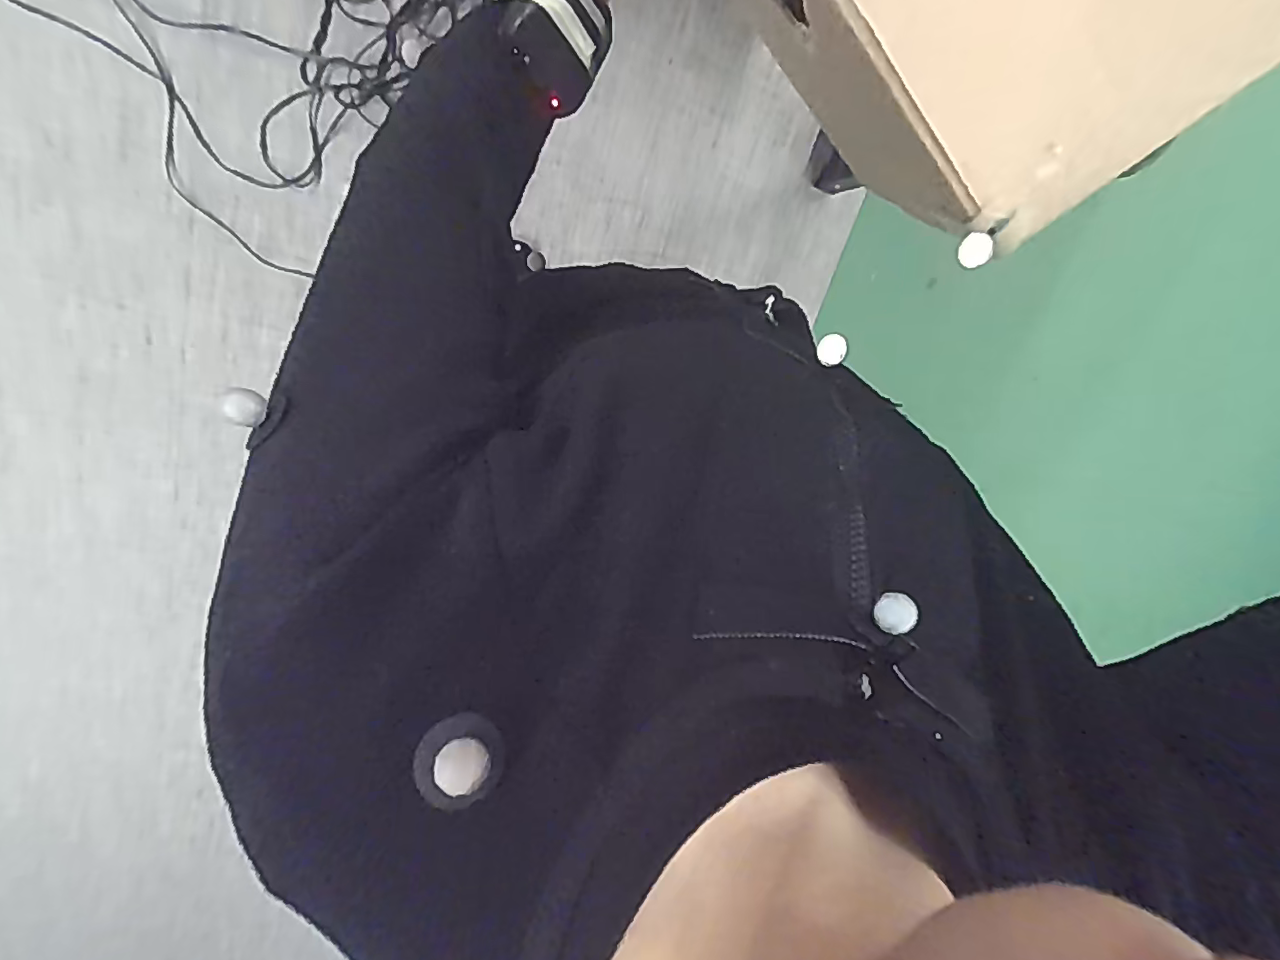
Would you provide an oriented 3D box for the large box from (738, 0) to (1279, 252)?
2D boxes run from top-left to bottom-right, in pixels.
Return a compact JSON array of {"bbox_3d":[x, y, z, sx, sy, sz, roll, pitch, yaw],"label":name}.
[{"bbox_3d":[0.206,-0.385,0.216,0.320,0.320,0.408,42,122,-16],"label":"large box"}]
